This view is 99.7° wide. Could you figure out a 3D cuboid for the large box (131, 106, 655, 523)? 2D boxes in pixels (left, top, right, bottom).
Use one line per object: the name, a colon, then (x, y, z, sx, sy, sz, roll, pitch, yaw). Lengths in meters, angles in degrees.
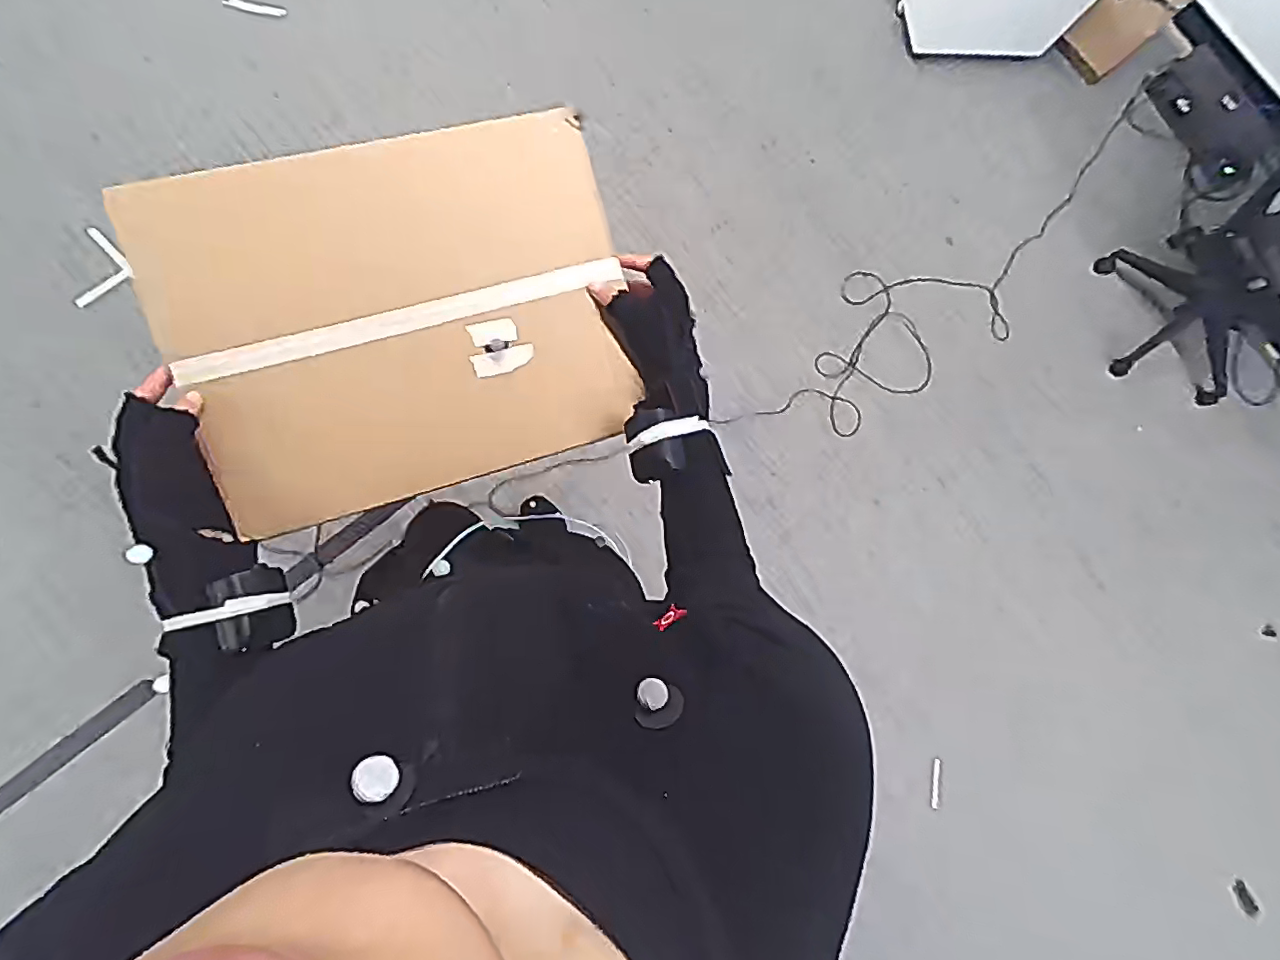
large box: (-0.244, -0.174, 0.661, 0.408, 0.320, 0.320, -18, 99, -11)
